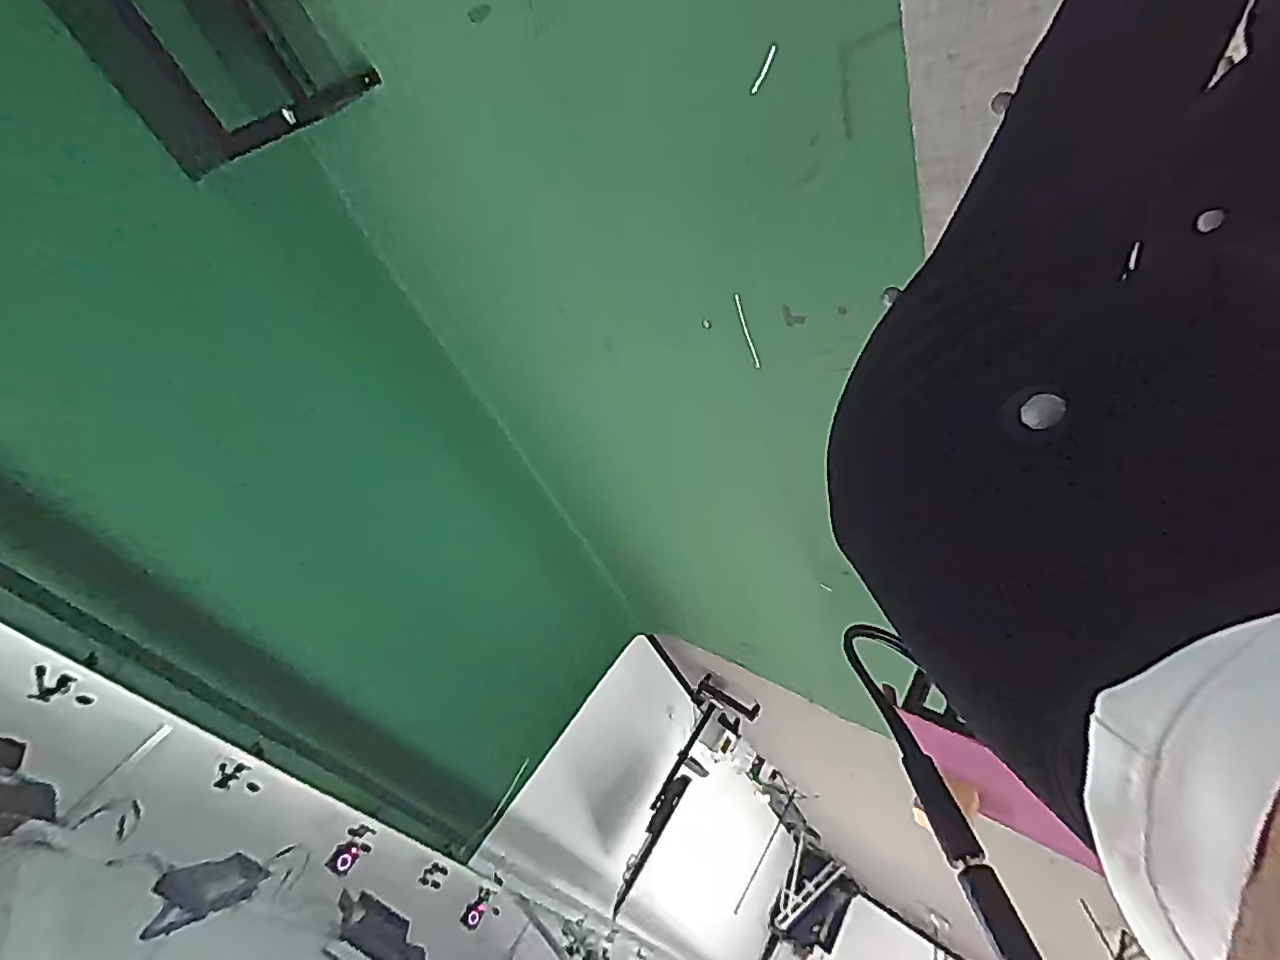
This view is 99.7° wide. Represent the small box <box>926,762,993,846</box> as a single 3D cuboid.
[{"bbox_3d":[1.153,1.159,1.942,0.168,0.176,0.179,12,142,44],"label":"small box"}]
